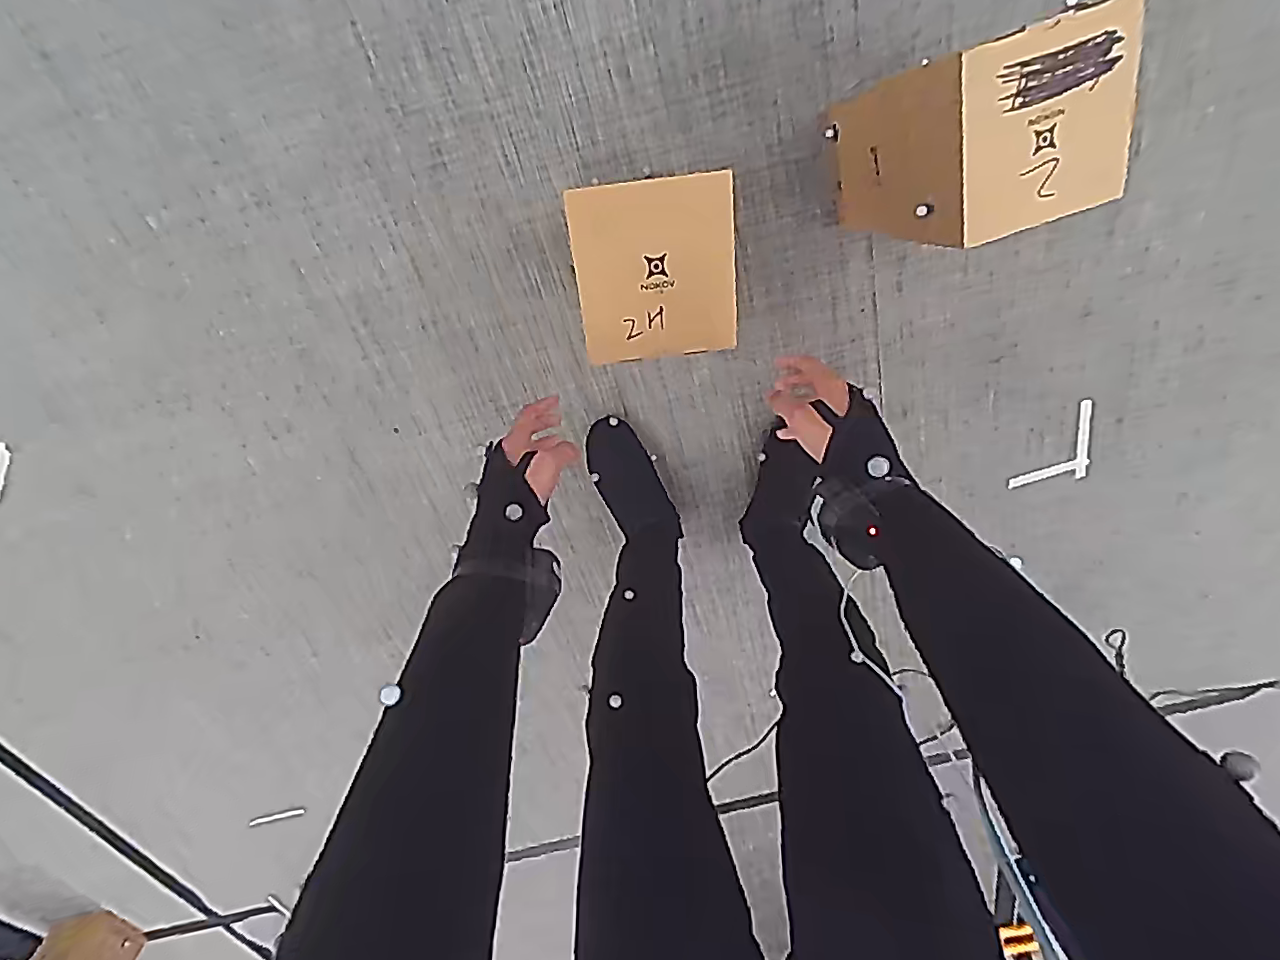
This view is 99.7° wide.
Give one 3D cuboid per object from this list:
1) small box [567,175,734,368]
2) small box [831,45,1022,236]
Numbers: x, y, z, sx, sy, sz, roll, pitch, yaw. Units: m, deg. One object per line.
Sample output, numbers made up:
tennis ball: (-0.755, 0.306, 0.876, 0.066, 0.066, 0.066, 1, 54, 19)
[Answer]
small box: (0.011, -0.244, 0.628, 0.168, 0.176, 0.179, -6, 118, 0)
small box: (0.374, -0.445, 0.735, 0.179, 0.176, 0.168, -17, 118, 3)
